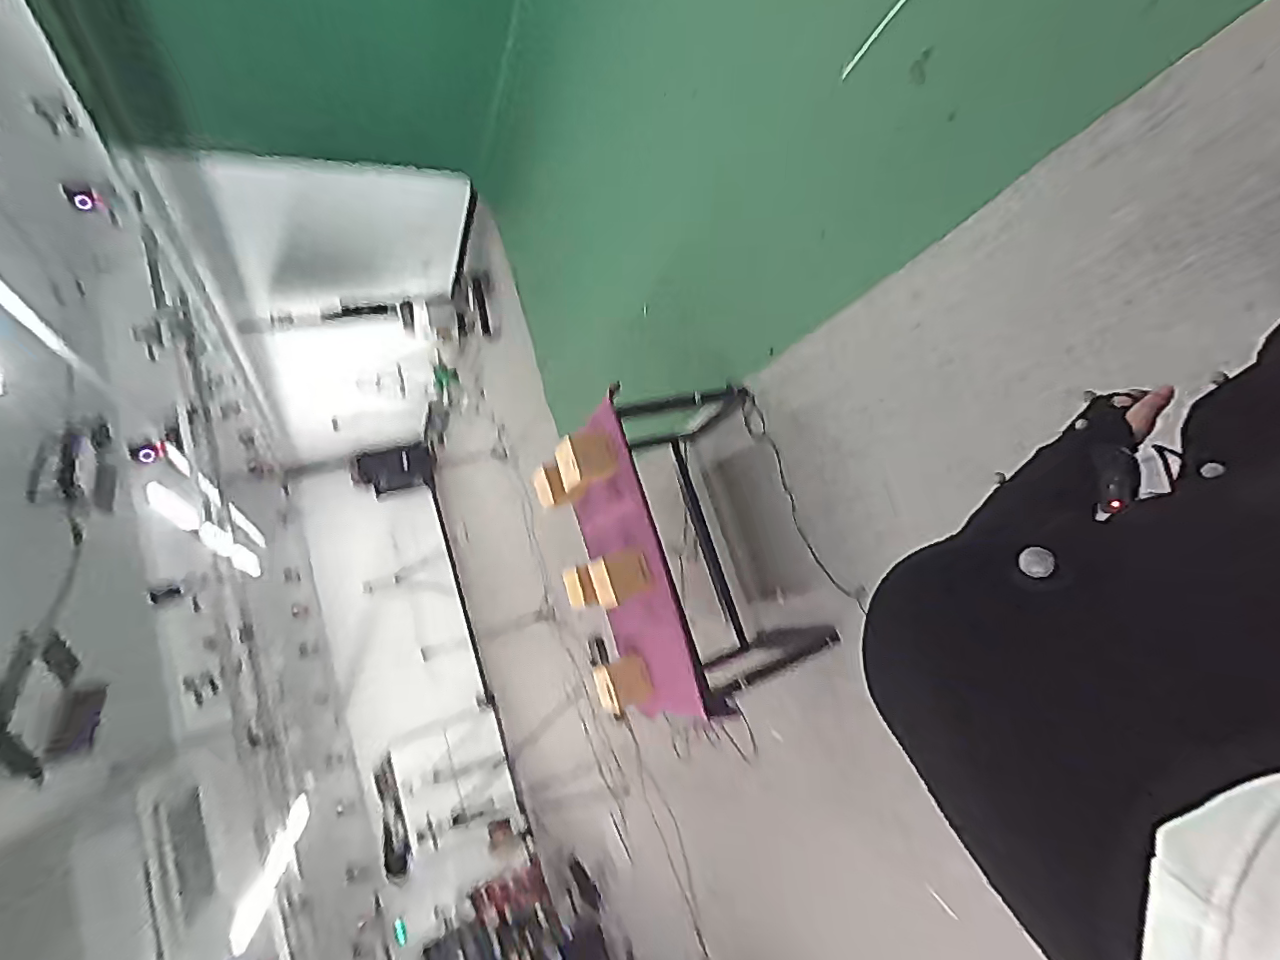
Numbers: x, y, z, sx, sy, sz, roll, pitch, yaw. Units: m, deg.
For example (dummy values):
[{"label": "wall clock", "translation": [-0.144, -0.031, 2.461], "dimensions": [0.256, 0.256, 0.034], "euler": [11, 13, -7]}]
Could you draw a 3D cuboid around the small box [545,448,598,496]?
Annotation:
[{"label": "small box", "translation": [-0.308, -0.044, 2.437], "dimensions": [0.179, 0.176, 0.168], "euler": [-35, 75, 60]}]

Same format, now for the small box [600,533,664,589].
[{"label": "small box", "translation": [-0.030, 0.313, 2.085], "dimensions": [0.179, 0.176, 0.168], "euler": [-34, 73, 62]}]

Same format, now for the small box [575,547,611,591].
[{"label": "small box", "translation": [-0.164, 0.384, 2.374], "dimensions": [0.179, 0.176, 0.168], "euler": [-28, 77, 60]}]

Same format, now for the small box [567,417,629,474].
[{"label": "small box", "translation": [-0.164, -0.134, 2.125], "dimensions": [0.179, 0.176, 0.168], "euler": [-30, 77, 62]}]
